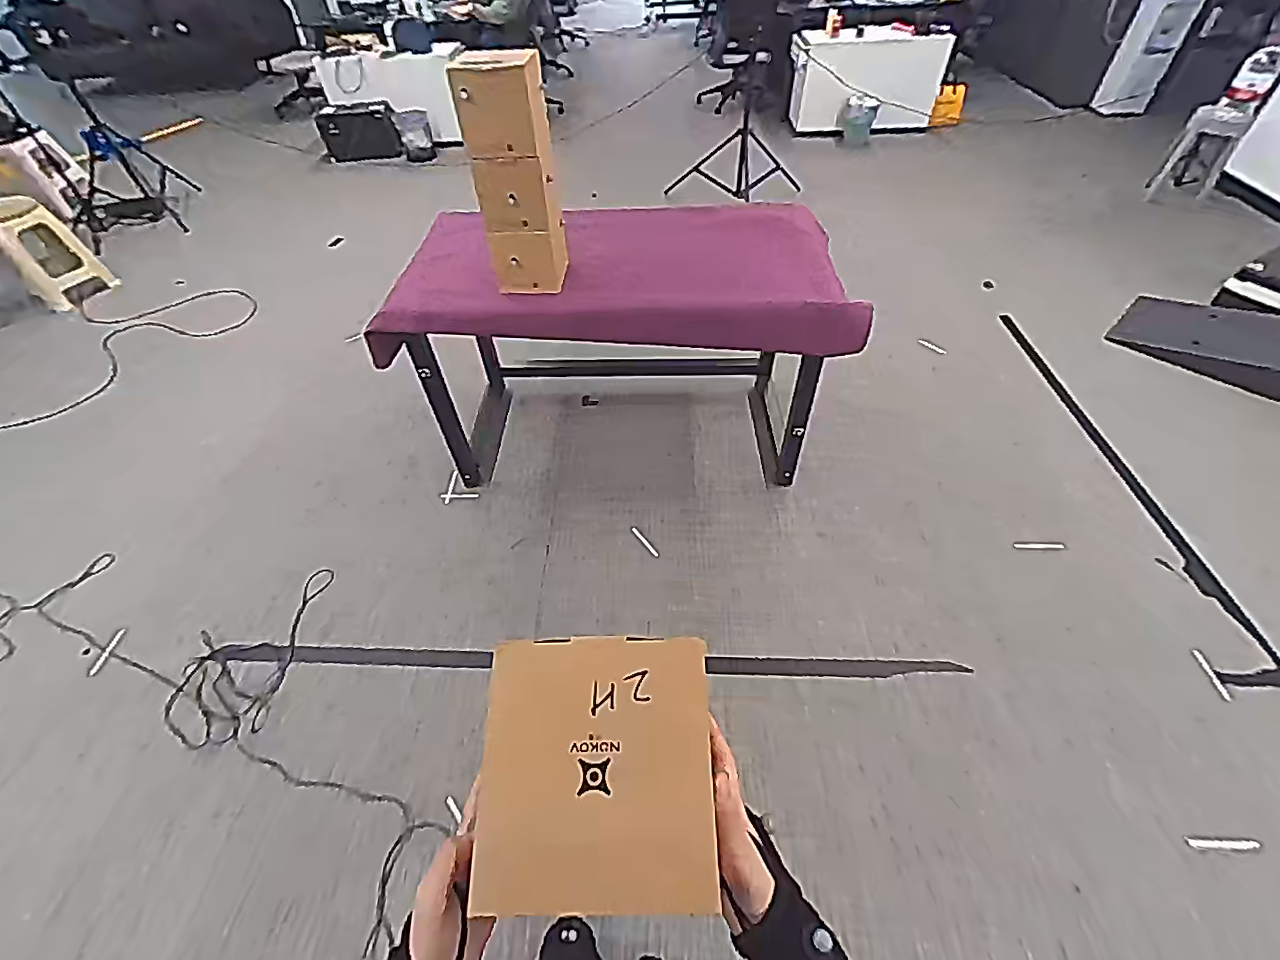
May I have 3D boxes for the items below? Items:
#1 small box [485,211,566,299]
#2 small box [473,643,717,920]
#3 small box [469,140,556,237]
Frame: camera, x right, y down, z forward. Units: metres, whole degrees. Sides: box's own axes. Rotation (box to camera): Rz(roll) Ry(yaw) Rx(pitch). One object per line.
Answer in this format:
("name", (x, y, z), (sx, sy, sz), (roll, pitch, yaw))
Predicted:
("small box", (-0.300, -0.605, 1.459), (0.168, 0.176, 0.179), (1, 48, 3))
("small box", (-0.026, 0.245, 0.460), (0.168, 0.176, 0.179), (-1, 61, 1))
("small box", (-0.307, -0.718, 1.341), (0.168, 0.176, 0.179), (-1, 48, 1))
